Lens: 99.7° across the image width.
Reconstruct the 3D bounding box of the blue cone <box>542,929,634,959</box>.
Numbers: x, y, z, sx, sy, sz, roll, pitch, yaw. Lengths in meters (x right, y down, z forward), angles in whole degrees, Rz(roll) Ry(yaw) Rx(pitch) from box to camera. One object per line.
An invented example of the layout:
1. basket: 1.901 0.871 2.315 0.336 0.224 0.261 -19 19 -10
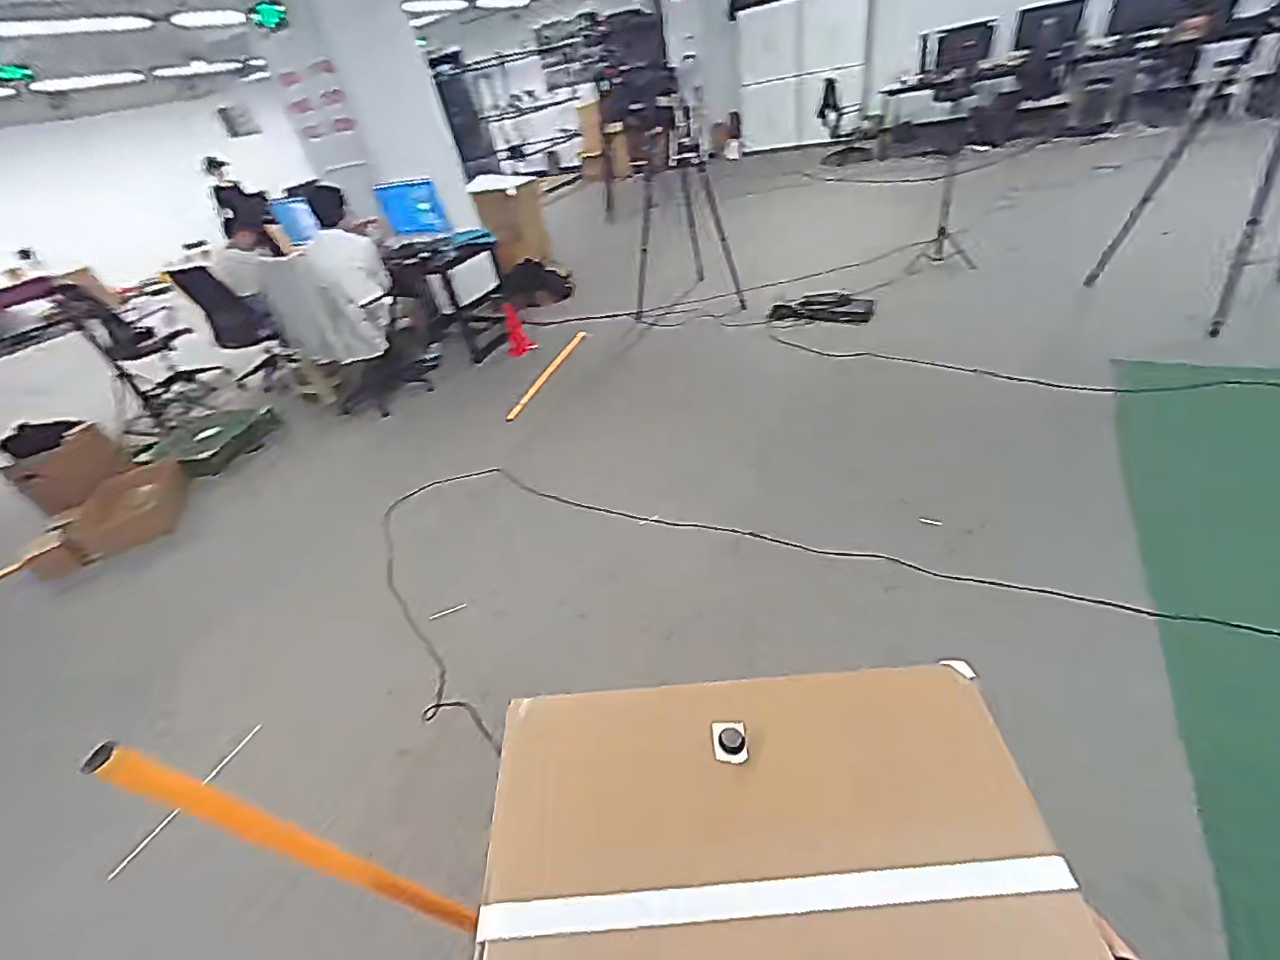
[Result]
1. blue cone: -0.114 0.963 1.034 0.192 0.380 0.193 -27 40 -17
